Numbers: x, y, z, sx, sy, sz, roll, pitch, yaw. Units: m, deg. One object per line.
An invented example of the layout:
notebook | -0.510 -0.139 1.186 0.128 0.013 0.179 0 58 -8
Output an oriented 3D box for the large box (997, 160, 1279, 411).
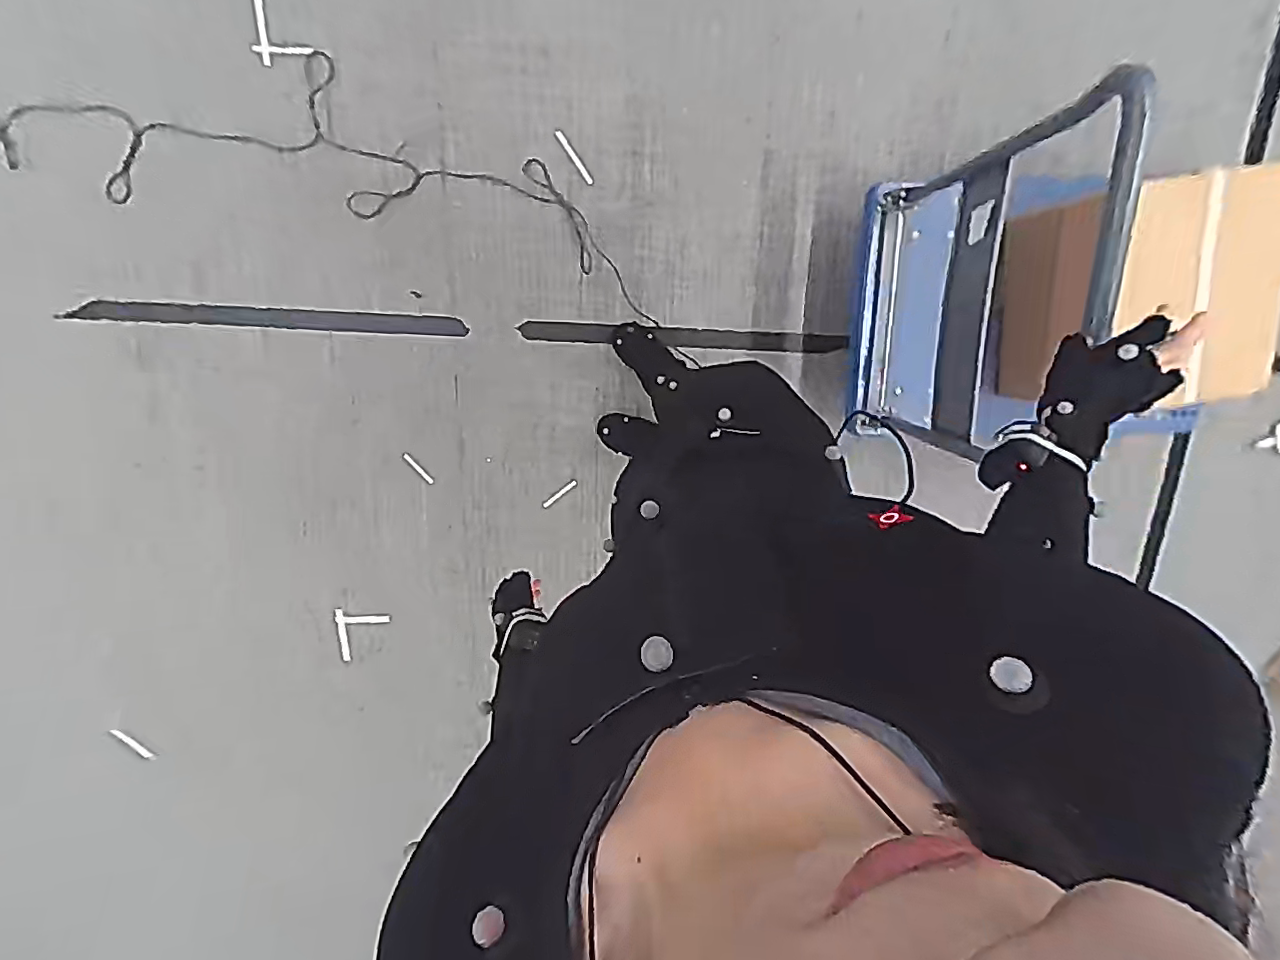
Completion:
large box | 0.997 -0.383 1.128 0.320 0.320 0.408 -8 105 1
